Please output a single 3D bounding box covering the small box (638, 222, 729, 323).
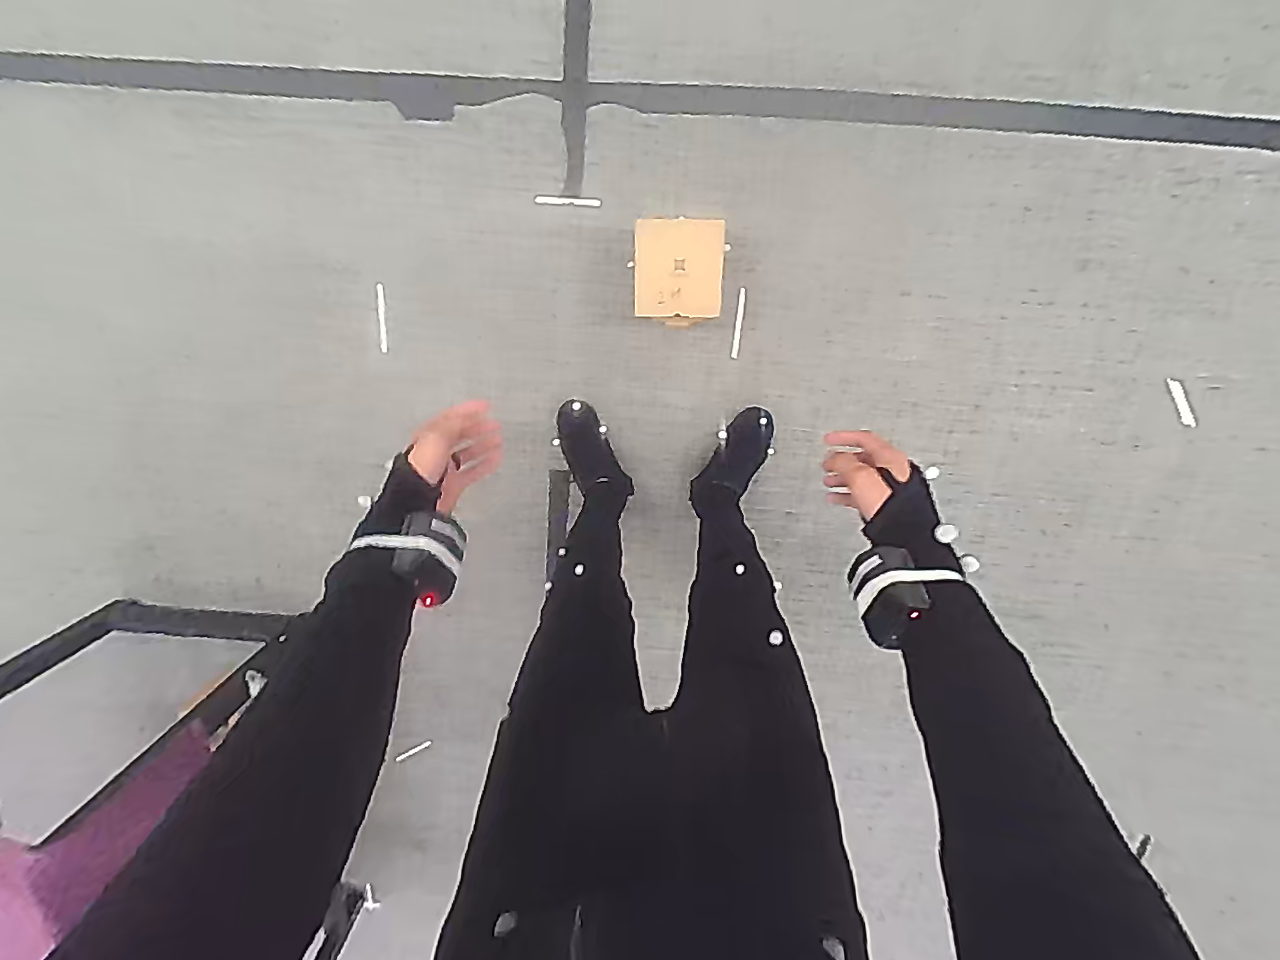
[{"bbox_3d":[0.081,-0.413,1.088,0.168,0.176,0.179,2,110,2],"label":"small box"}]
